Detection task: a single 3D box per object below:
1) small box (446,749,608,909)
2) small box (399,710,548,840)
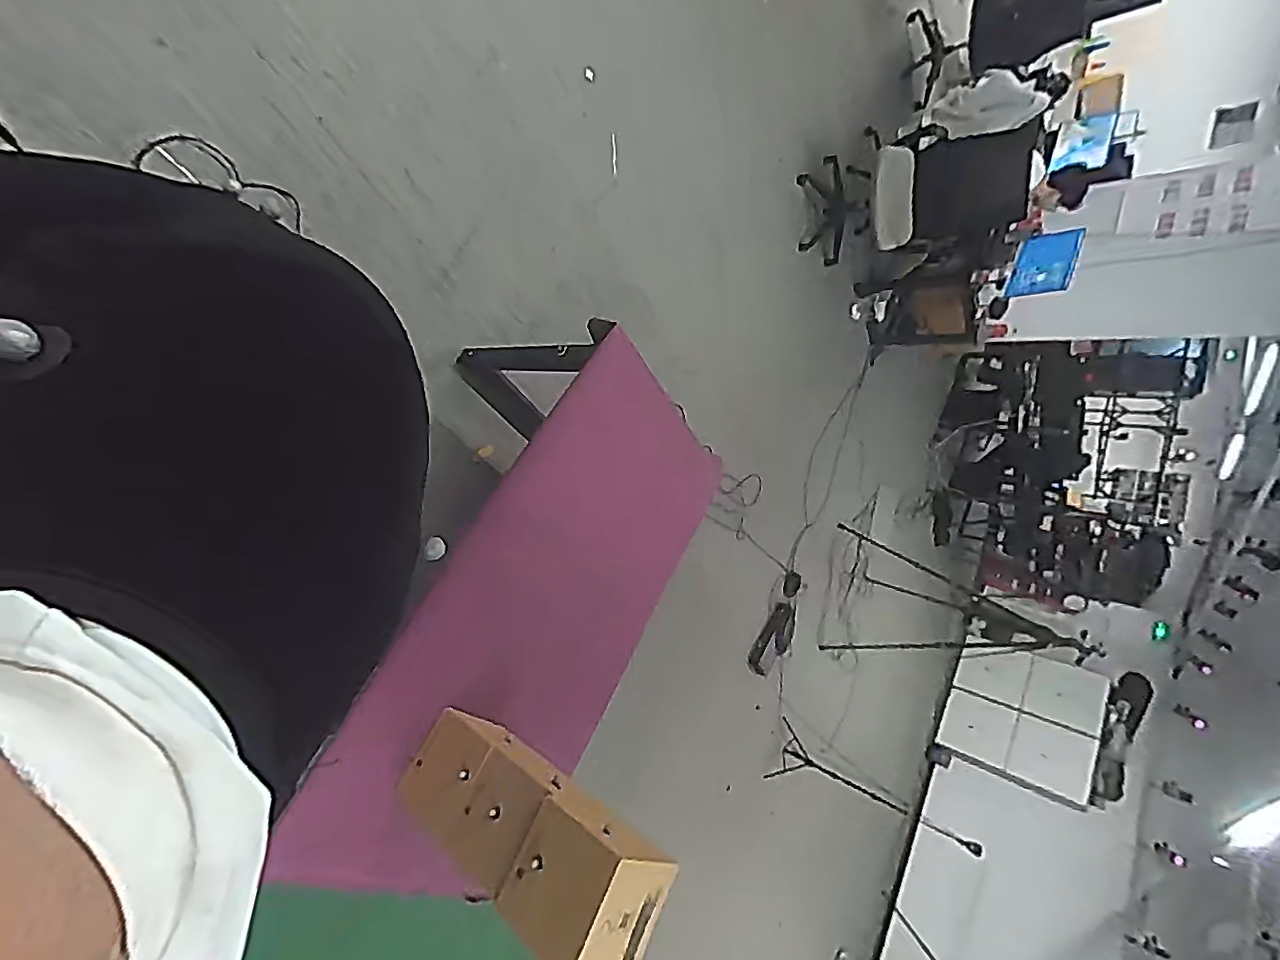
[{"bbox_3d":[-0.196,0.595,0.934,0.168,0.176,0.179,-59,135,-20],"label":"small box"},{"bbox_3d":[-0.319,0.569,1.042,0.179,0.176,0.168,48,62,-43],"label":"small box"}]
